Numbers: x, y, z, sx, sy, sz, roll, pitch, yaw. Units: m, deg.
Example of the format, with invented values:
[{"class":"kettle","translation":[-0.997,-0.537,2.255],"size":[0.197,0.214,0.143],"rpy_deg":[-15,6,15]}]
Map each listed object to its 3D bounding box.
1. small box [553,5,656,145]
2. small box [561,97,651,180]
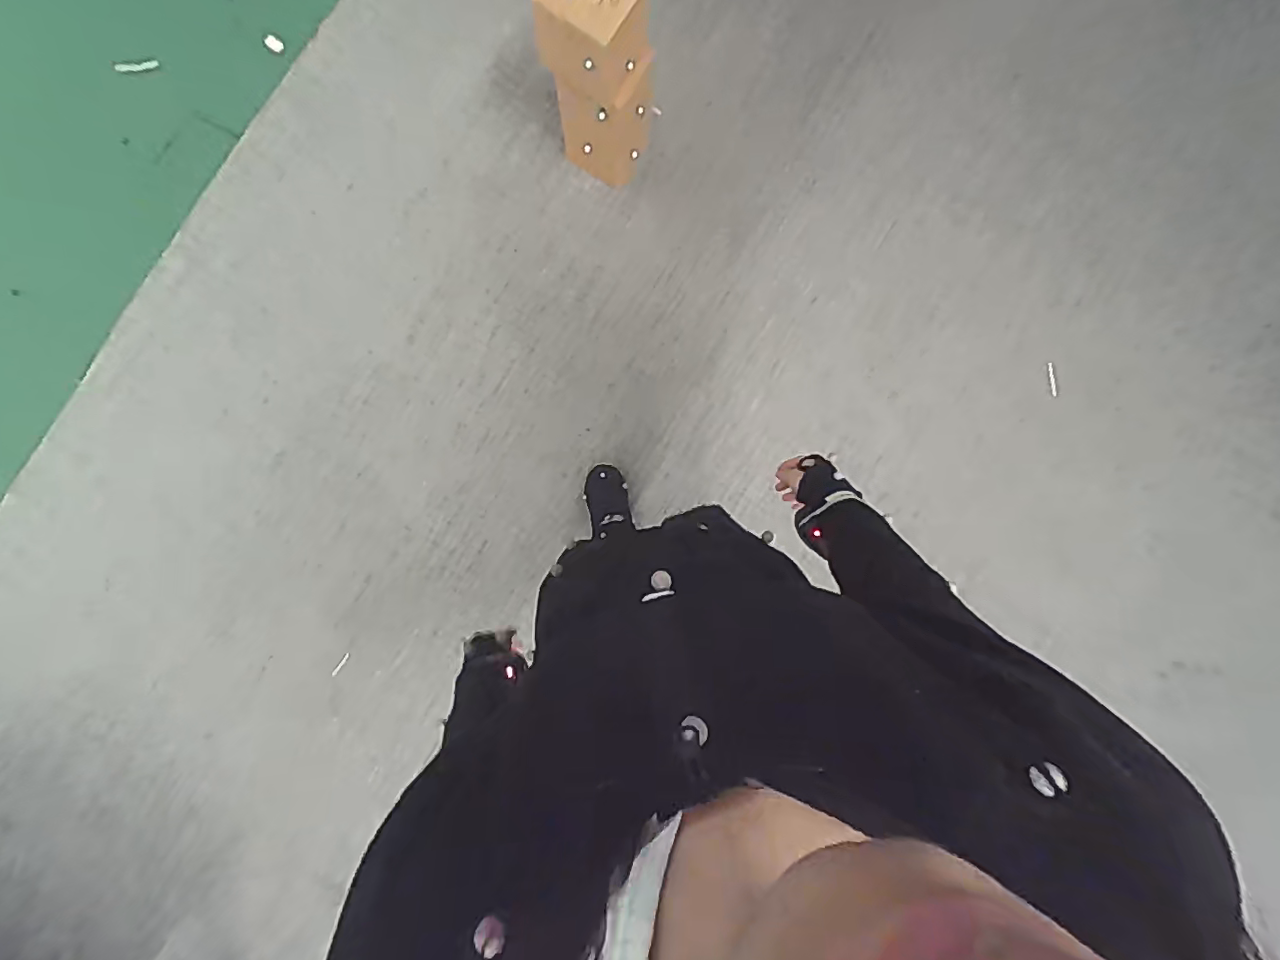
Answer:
[{"class":"small box","translation":[-0.079,-0.936,1.271],"size":[0.179,0.176,0.168],"rpy_deg":[30,88,-1]},{"class":"small box","translation":[-0.088,-0.938,1.436],"size":[0.179,0.176,0.168],"rpy_deg":[30,89,-1]}]
